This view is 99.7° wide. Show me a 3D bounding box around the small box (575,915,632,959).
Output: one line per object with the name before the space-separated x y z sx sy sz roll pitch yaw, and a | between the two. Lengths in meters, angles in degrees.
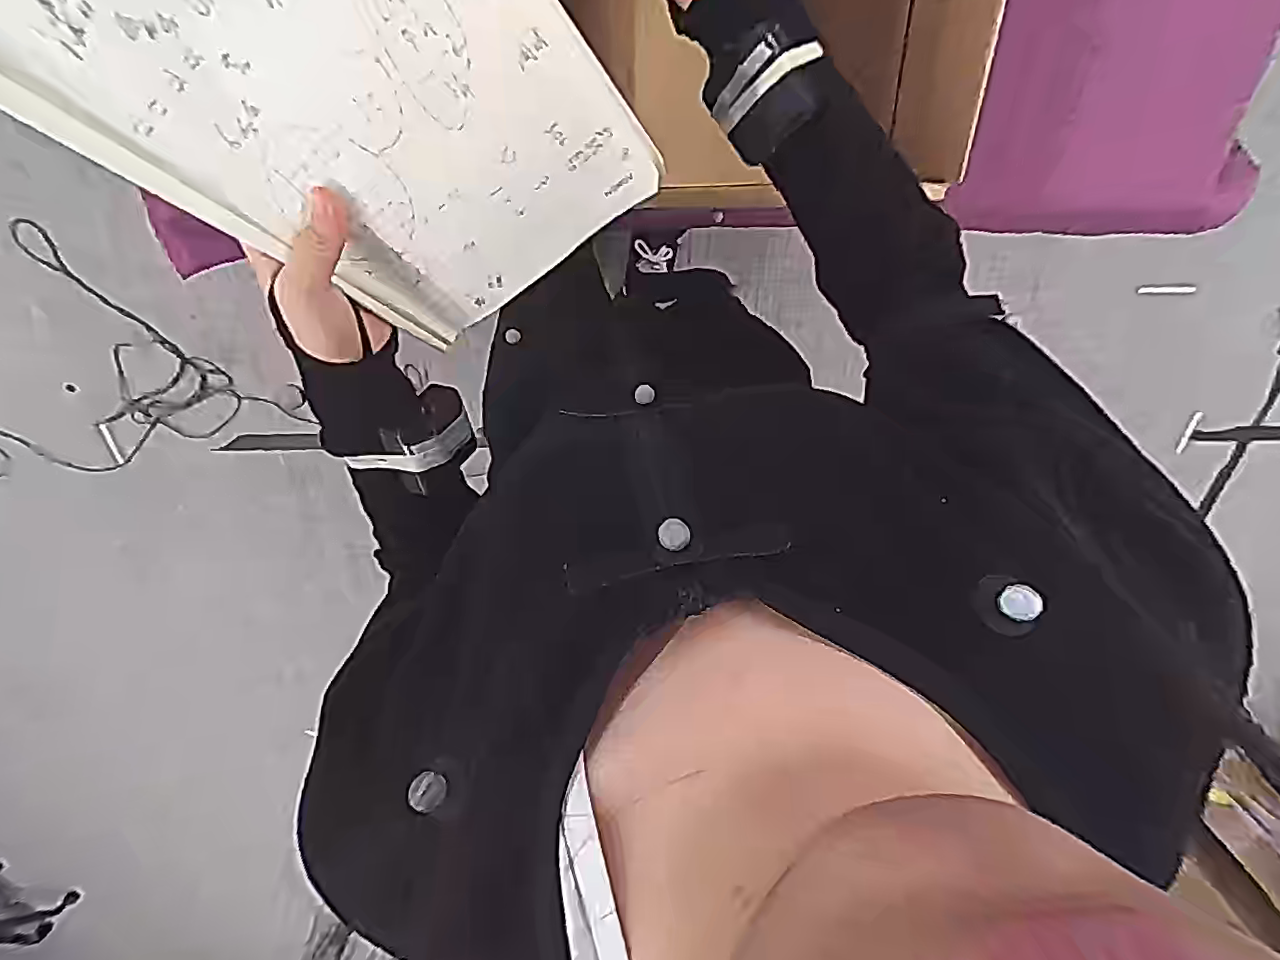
small box | -0.108 1.450 1.631 0.168 0.176 0.179 -2 120 -2

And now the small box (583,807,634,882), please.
small box | -0.110 1.285 1.916 0.168 0.176 0.179 -4 121 0
